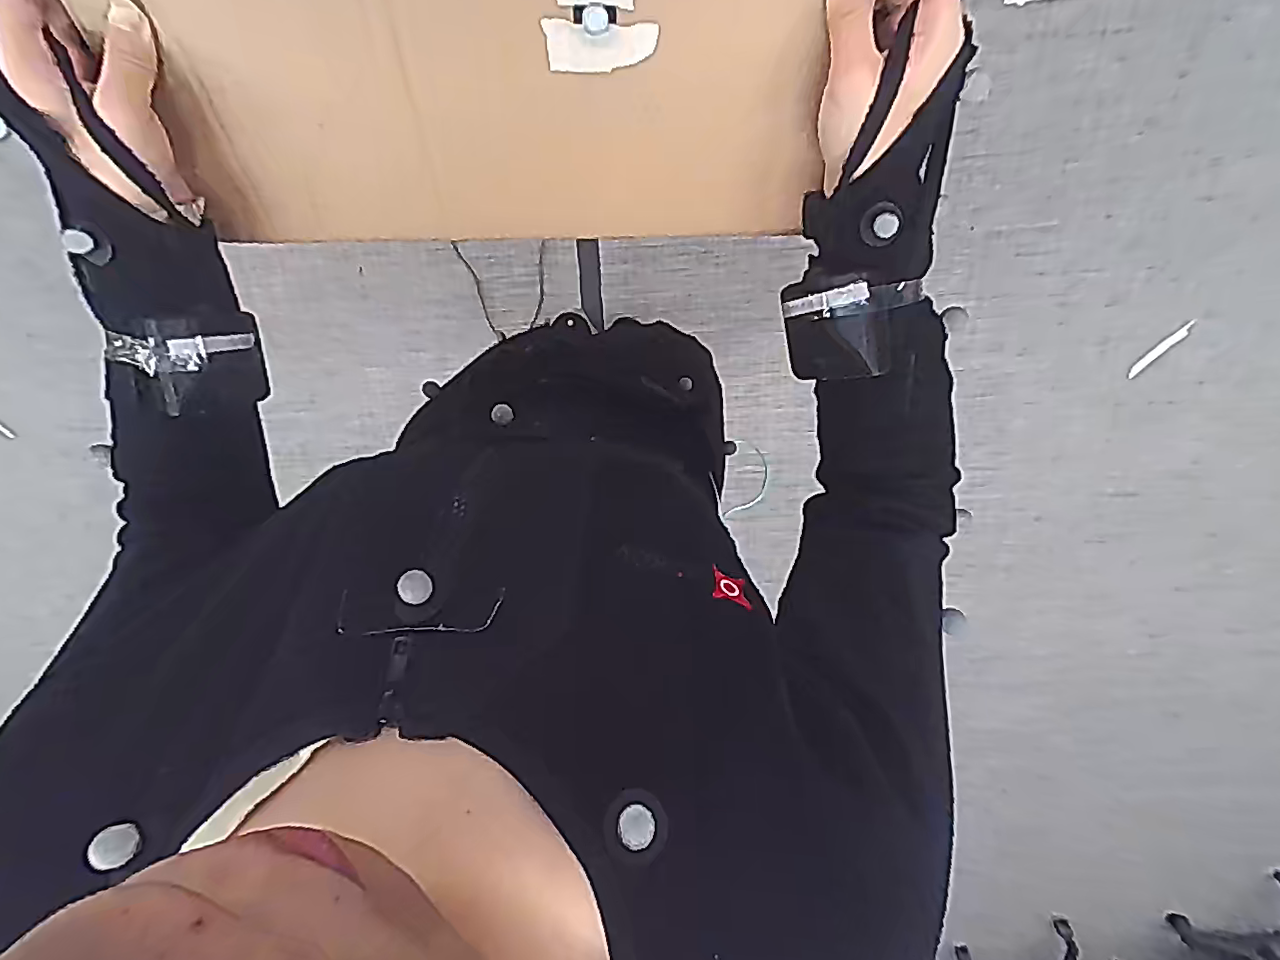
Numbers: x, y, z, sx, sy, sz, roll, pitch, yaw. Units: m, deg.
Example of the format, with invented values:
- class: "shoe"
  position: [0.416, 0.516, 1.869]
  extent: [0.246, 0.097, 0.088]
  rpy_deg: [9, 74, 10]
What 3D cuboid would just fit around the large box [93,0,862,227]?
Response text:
- class: "large box"
  position: [-0.085, -0.387, 0.349]
  extent: [0.408, 0.320, 0.320]
  rpy_deg: [-1, 137, 1]
